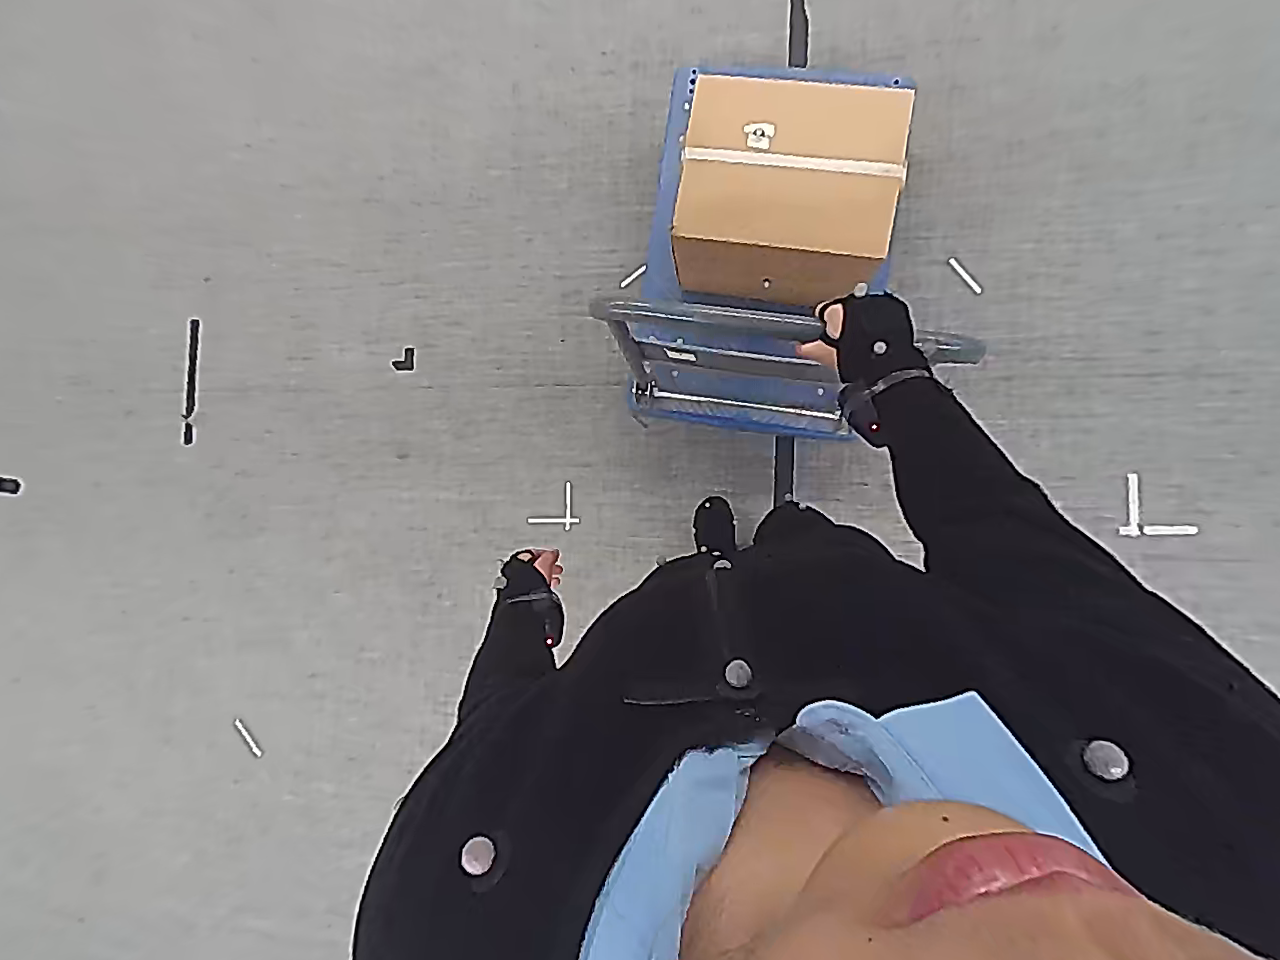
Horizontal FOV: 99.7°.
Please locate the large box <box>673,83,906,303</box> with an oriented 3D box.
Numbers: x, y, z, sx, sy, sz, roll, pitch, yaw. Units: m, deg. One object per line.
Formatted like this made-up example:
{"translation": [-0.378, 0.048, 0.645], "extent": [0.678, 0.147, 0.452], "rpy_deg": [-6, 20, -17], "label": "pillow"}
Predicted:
{"translation": [0.304, -0.598, 1.176], "extent": [0.408, 0.320, 0.320], "rpy_deg": [9, 90, 9], "label": "large box"}
